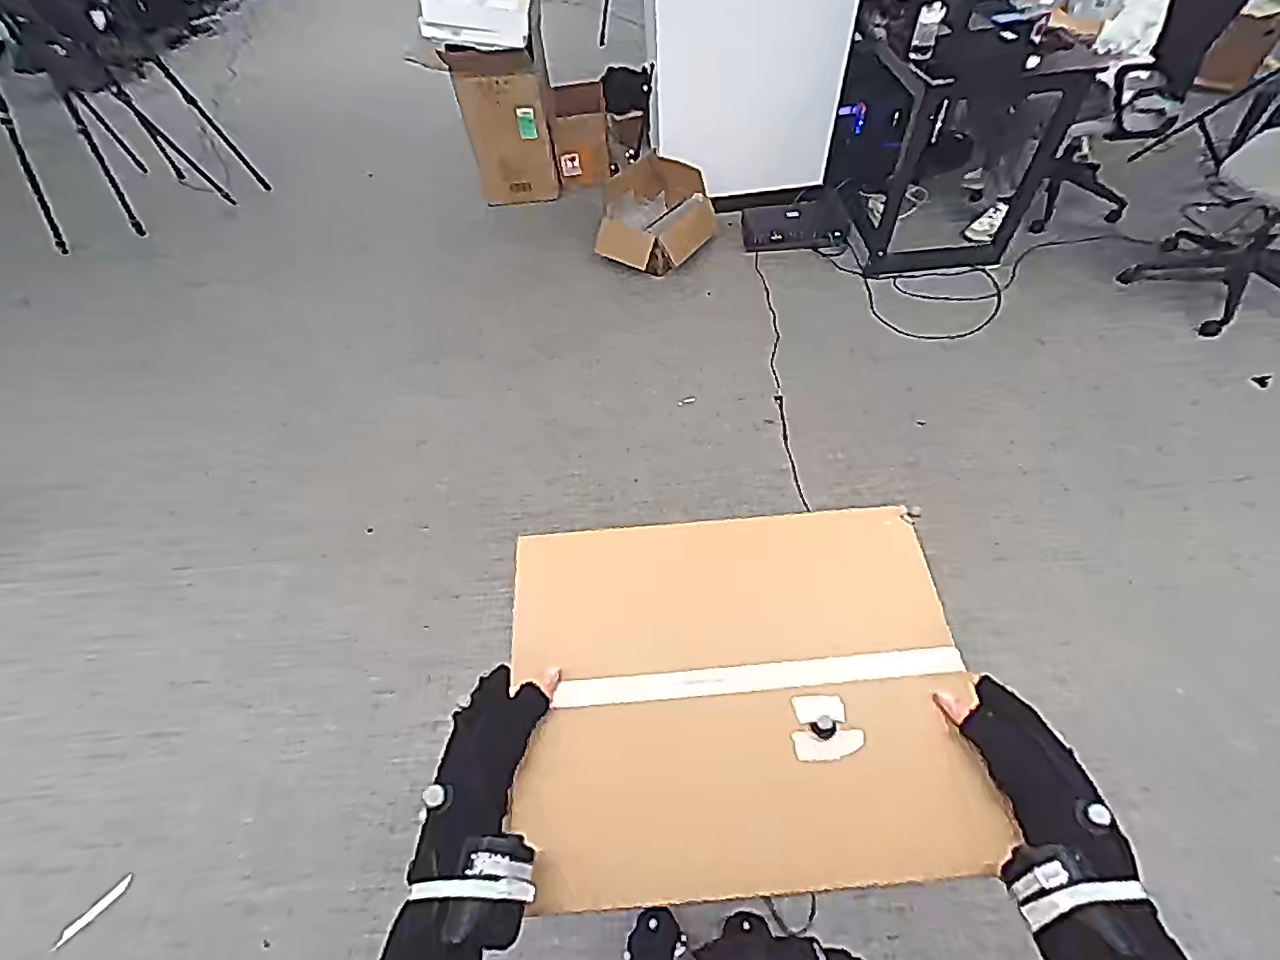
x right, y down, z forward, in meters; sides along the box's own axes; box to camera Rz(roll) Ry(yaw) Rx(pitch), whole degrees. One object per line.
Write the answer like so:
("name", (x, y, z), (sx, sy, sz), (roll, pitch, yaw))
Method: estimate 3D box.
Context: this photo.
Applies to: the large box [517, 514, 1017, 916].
("large box", (0.091, 0.260, 0.621), (0.408, 0.320, 0.320), (-5, 61, -1))
